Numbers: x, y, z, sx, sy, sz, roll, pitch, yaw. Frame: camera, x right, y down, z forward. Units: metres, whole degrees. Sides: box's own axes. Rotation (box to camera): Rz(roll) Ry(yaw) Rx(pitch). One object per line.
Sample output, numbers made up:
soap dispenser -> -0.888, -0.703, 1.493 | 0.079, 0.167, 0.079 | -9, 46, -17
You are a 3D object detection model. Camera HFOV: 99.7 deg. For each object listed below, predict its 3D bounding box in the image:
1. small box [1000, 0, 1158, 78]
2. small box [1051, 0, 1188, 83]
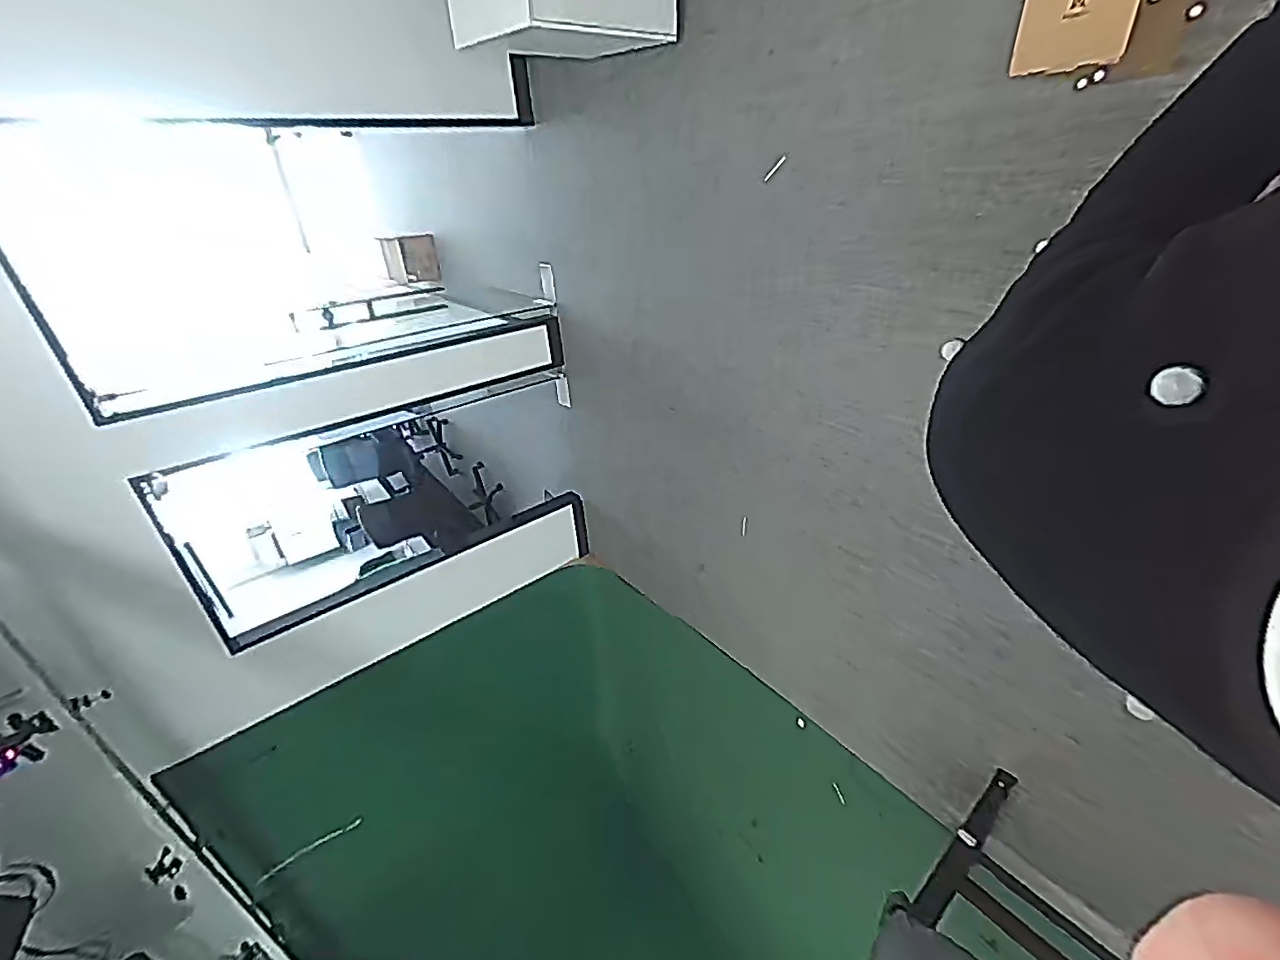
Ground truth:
small box -> 0.752, -0.798, 0.914 | 0.168, 0.176, 0.179 | 28, 131, 44
small box -> 0.878, -0.855, 0.999 | 0.168, 0.176, 0.179 | 31, 134, 43
